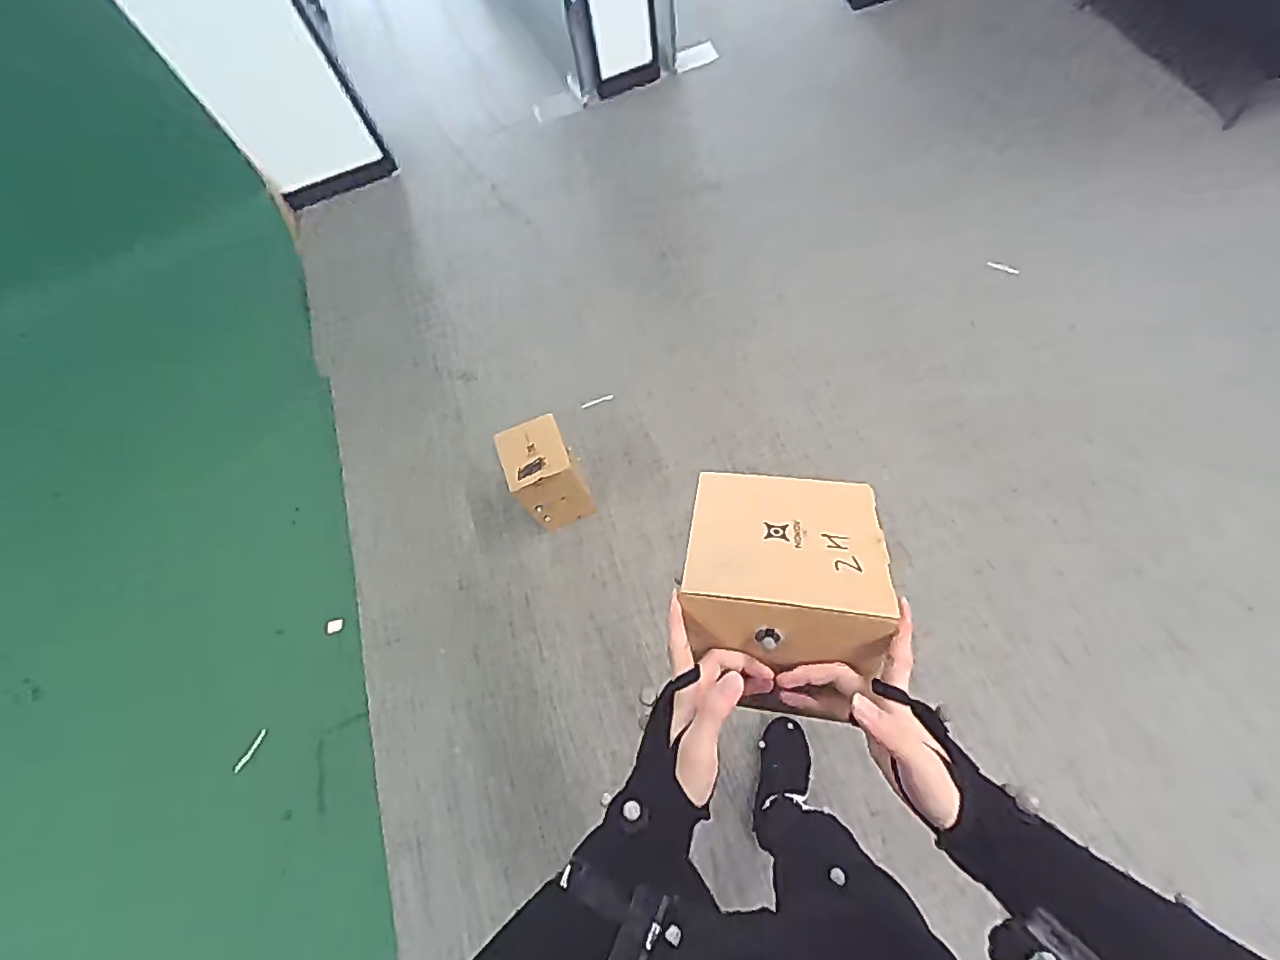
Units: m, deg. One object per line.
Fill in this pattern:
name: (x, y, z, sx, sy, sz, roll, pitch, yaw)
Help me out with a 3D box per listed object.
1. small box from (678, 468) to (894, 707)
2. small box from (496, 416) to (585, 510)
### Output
small box: (0.135, 0.107, 0.550, 0.179, 0.176, 0.168, 5, 39, 9)
small box: (-0.260, -0.036, 1.443, 0.168, 0.176, 0.179, -22, 65, -3)
